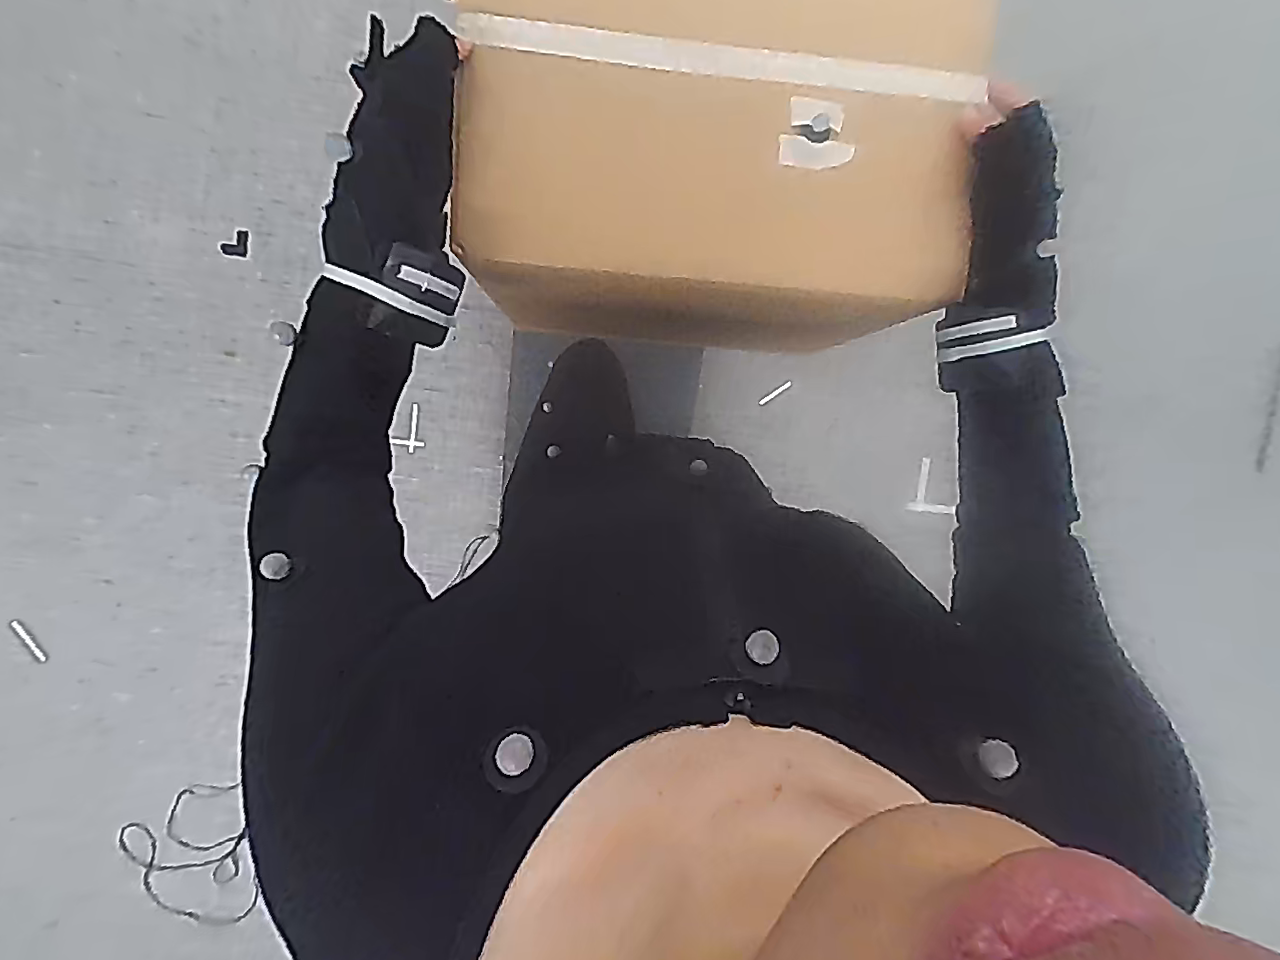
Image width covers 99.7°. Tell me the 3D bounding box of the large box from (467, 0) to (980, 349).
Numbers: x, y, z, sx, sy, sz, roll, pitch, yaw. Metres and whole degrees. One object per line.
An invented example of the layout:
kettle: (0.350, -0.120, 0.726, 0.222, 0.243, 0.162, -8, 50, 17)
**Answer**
large box: (0.056, -0.328, 0.569, 0.408, 0.320, 0.320, 3, 95, -5)
